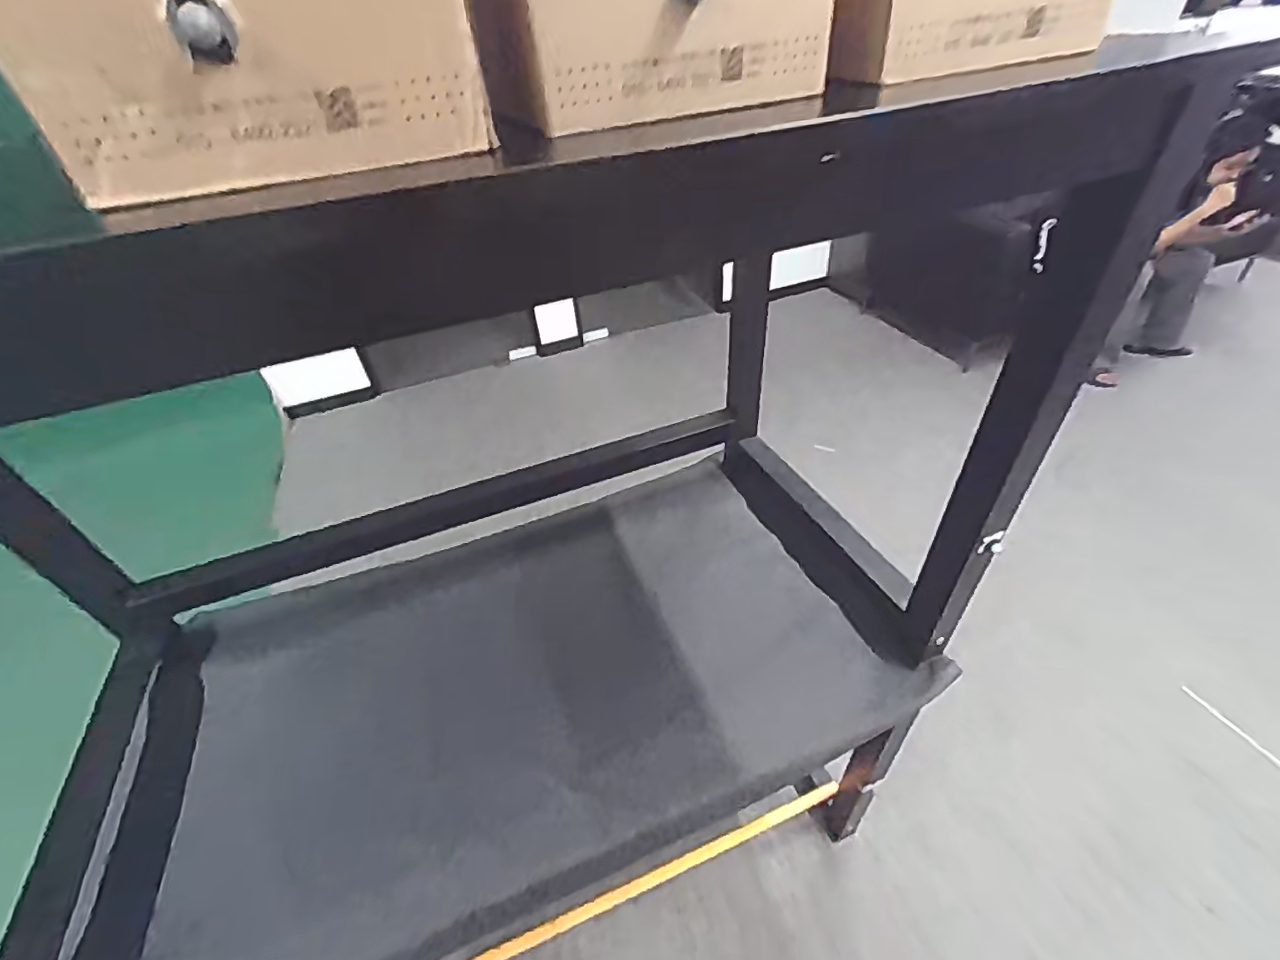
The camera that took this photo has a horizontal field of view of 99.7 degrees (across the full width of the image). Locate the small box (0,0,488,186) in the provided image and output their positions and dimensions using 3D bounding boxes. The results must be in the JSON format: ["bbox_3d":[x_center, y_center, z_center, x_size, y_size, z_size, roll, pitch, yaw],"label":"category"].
[{"bbox_3d":[-0.181,-0.247,0.249,0.168,0.176,0.179,-17,42,-14],"label":"small box"}]
